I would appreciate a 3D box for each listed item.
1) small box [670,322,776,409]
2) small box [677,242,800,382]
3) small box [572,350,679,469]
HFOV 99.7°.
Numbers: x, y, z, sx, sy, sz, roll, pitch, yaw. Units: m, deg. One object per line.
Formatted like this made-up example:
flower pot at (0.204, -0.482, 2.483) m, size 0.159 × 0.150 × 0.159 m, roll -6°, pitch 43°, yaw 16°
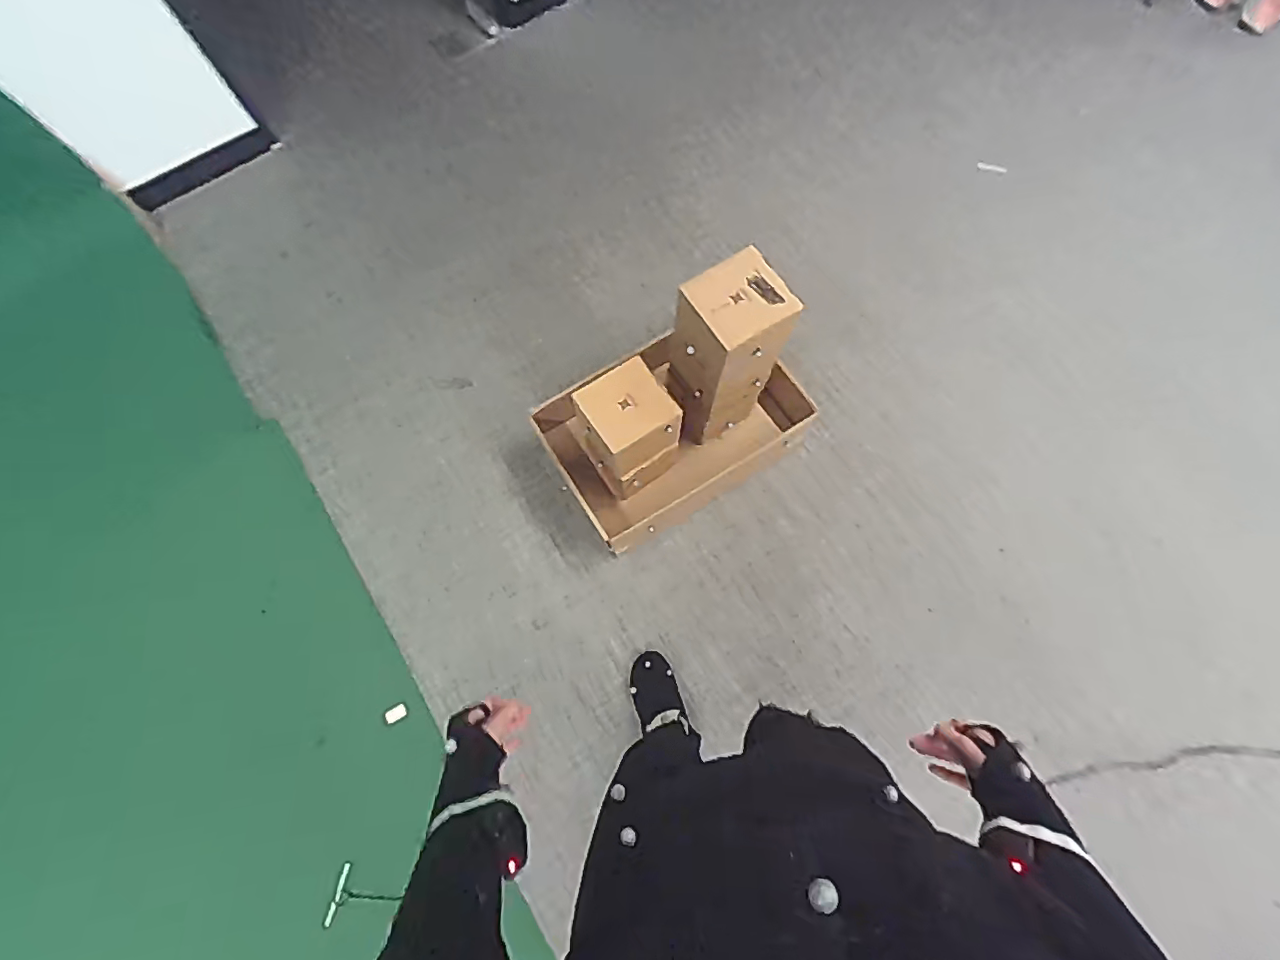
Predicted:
small box at (0.183, -0.286, 1.246) m, size 0.168 × 0.176 × 0.179 m, roll -31°, pitch 75°, yaw -8°
small box at (0.187, -0.330, 1.089) m, size 0.179 × 0.176 × 0.168 m, roll -31°, pitch 76°, yaw -7°
small box at (-0.029, -0.149, 1.211) m, size 0.179 × 0.176 × 0.168 m, roll -34°, pitch 76°, yaw -10°
